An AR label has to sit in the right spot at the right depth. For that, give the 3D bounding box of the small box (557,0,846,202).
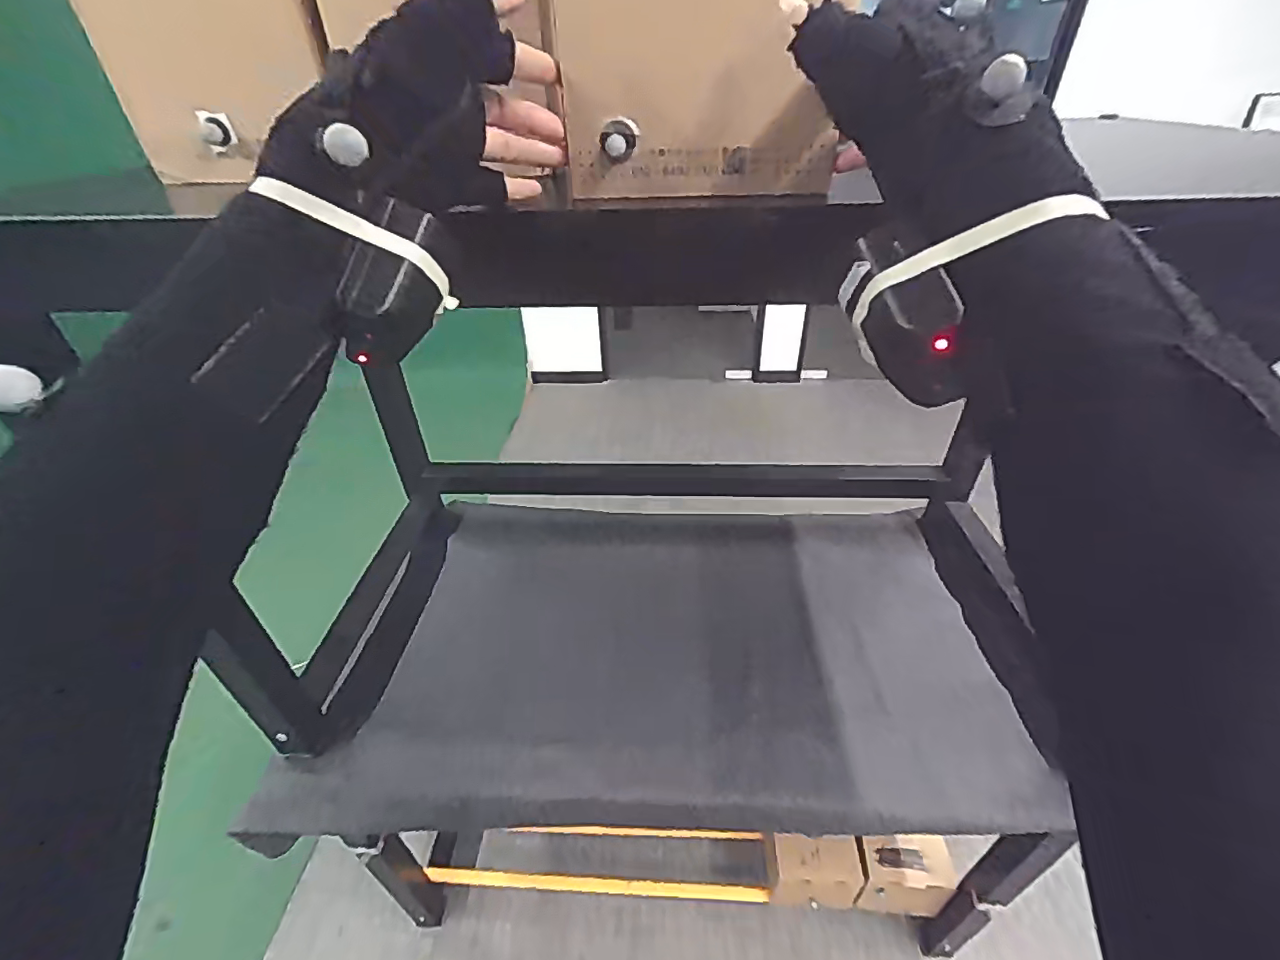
[{"bbox_3d":[0.042,-0.296,0.376,0.168,0.176,0.179,2,35,5],"label":"small box"}]
